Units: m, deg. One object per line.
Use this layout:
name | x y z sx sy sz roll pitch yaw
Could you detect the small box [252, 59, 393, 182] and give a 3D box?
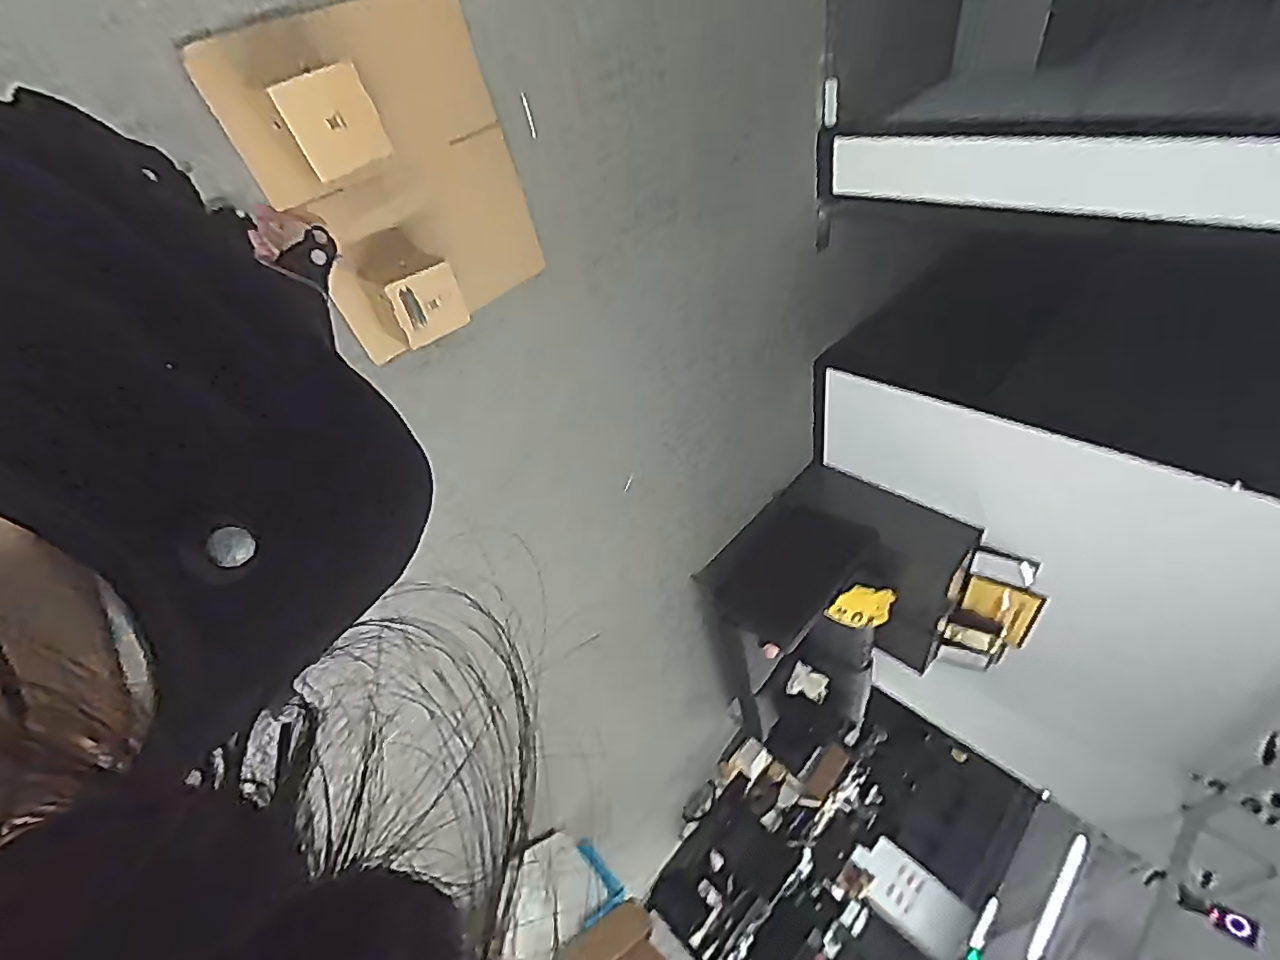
small box | -0.657 -0.735 1.112 0.179 0.176 0.168 -43 140 -23
